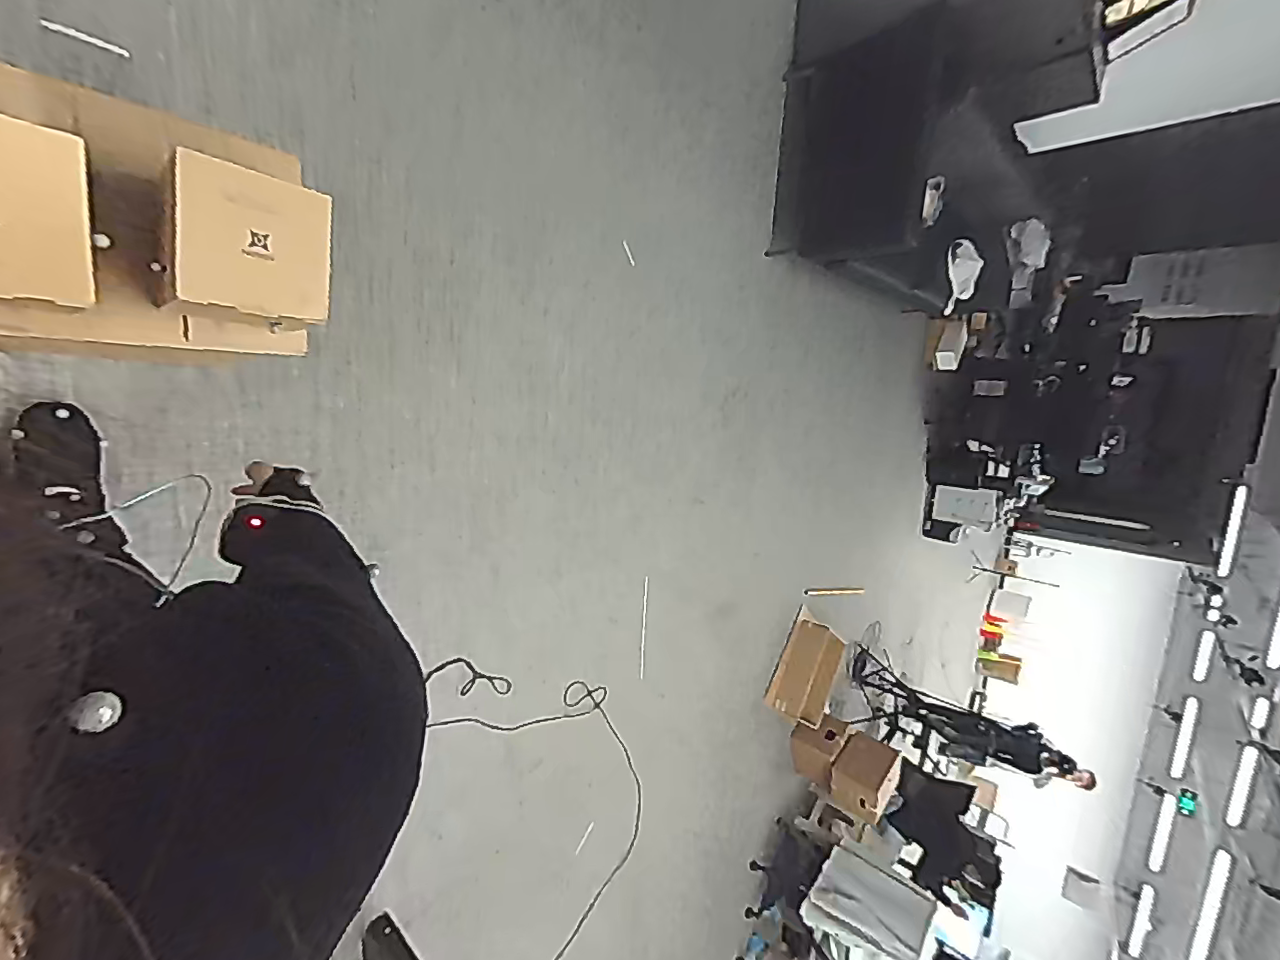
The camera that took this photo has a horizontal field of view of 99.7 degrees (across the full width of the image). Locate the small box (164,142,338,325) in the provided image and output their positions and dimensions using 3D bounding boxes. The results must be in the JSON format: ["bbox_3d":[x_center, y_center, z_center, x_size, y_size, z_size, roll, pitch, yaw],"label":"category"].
[{"bbox_3d":[-0.534,-0.317,0.743,0.168,0.176,0.179,-2,99,-47],"label":"small box"}]

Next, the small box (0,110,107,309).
[{"bbox_3d":[-0.696,-0.285,0.572,0.168,0.176,0.179,-7,106,-49],"label":"small box"}]
